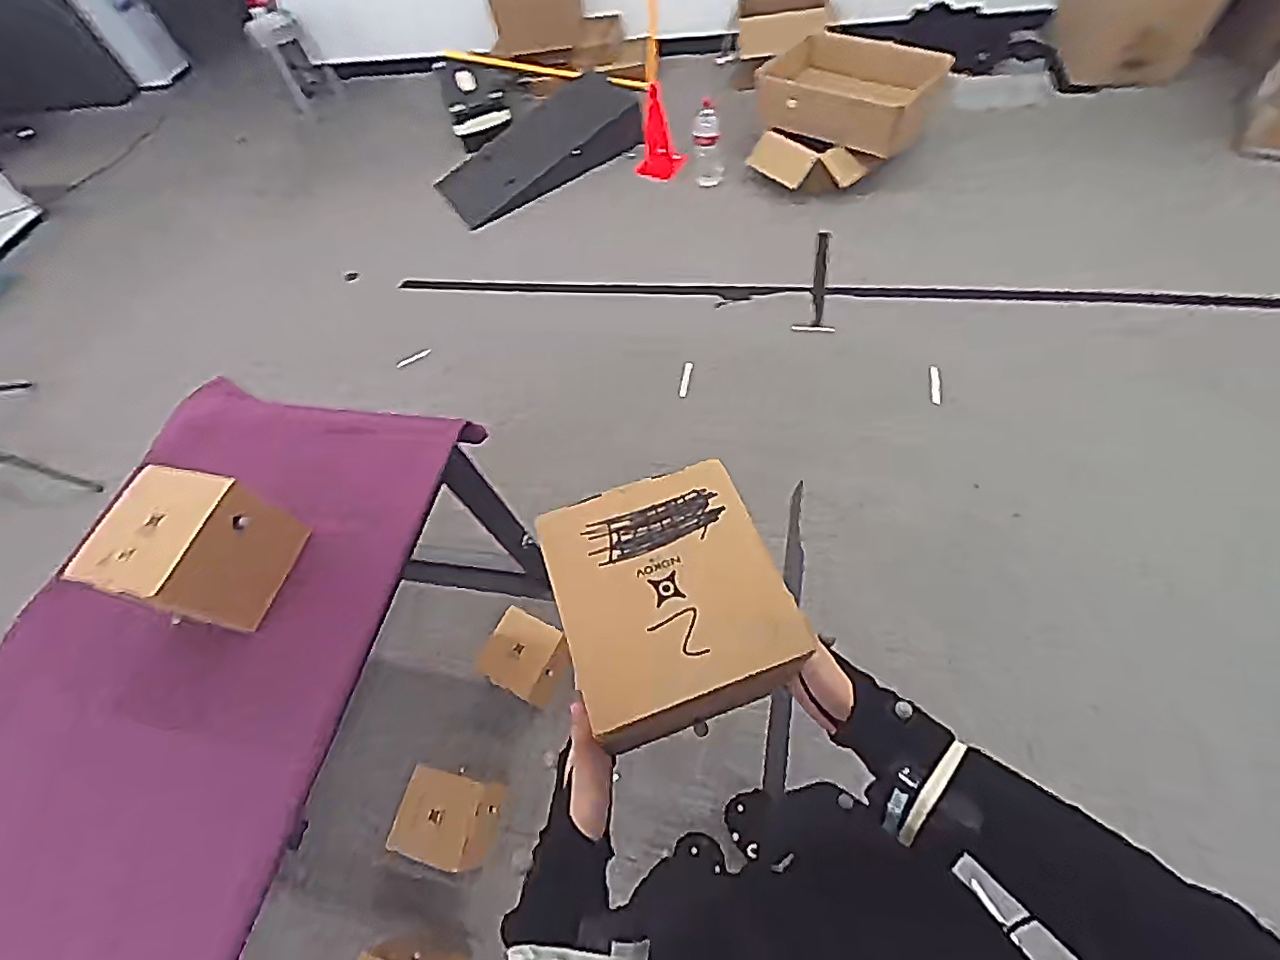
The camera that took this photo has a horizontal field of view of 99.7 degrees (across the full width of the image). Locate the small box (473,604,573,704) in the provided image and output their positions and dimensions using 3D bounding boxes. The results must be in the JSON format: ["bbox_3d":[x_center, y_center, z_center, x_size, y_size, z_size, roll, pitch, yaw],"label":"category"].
[{"bbox_3d":[-0.289,0.451,1.389,0.168,0.176,0.179,22,67,19],"label":"small box"}]

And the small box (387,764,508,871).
[{"bbox_3d":[-0.426,0.760,1.232,0.179,0.176,0.168,7,61,14],"label":"small box"}]

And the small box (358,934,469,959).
[{"bbox_3d":[-0.468,1.040,1.074,0.179,0.176,0.168,7,61,14],"label":"small box"}]

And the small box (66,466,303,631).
[{"bbox_3d":[-0.643,0.103,0.794,0.168,0.176,0.179,7,62,14],"label":"small box"}]
